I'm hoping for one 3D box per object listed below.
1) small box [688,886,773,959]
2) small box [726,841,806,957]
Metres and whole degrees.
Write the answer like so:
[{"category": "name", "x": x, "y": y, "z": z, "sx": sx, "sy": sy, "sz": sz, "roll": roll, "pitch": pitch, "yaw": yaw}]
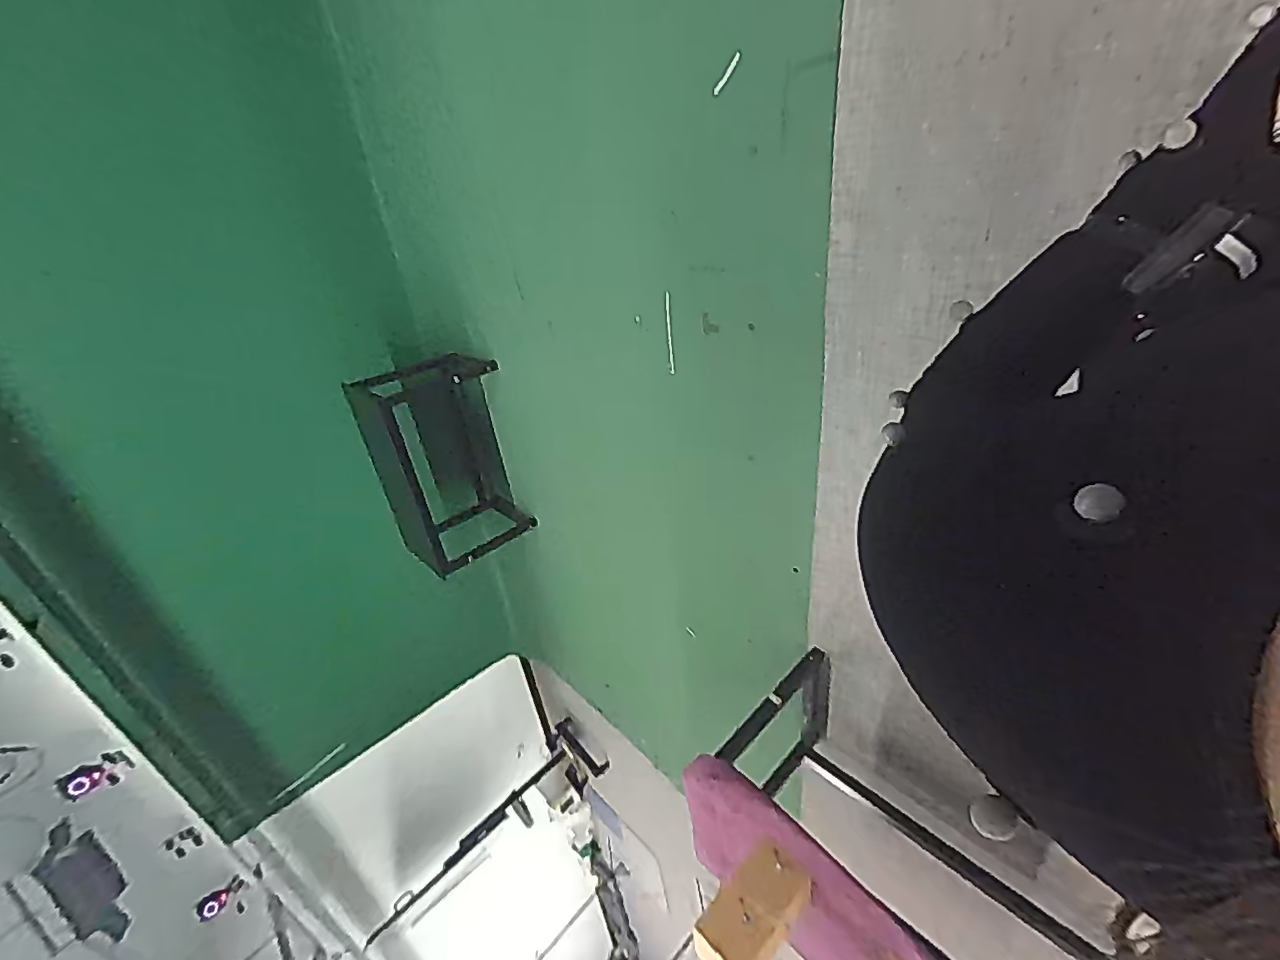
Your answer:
[{"category": "small box", "x": 0.253, "y": 1.290, "z": 1.497, "sx": 0.168, "sy": 0.176, "sz": 0.179, "roll": 22, "pitch": 130, "yaw": 42}, {"category": "small box", "x": 0.370, "y": 1.220, "z": 1.585, "sx": 0.168, "sy": 0.176, "sz": 0.179, "roll": 23, "pitch": 130, "yaw": 41}]
